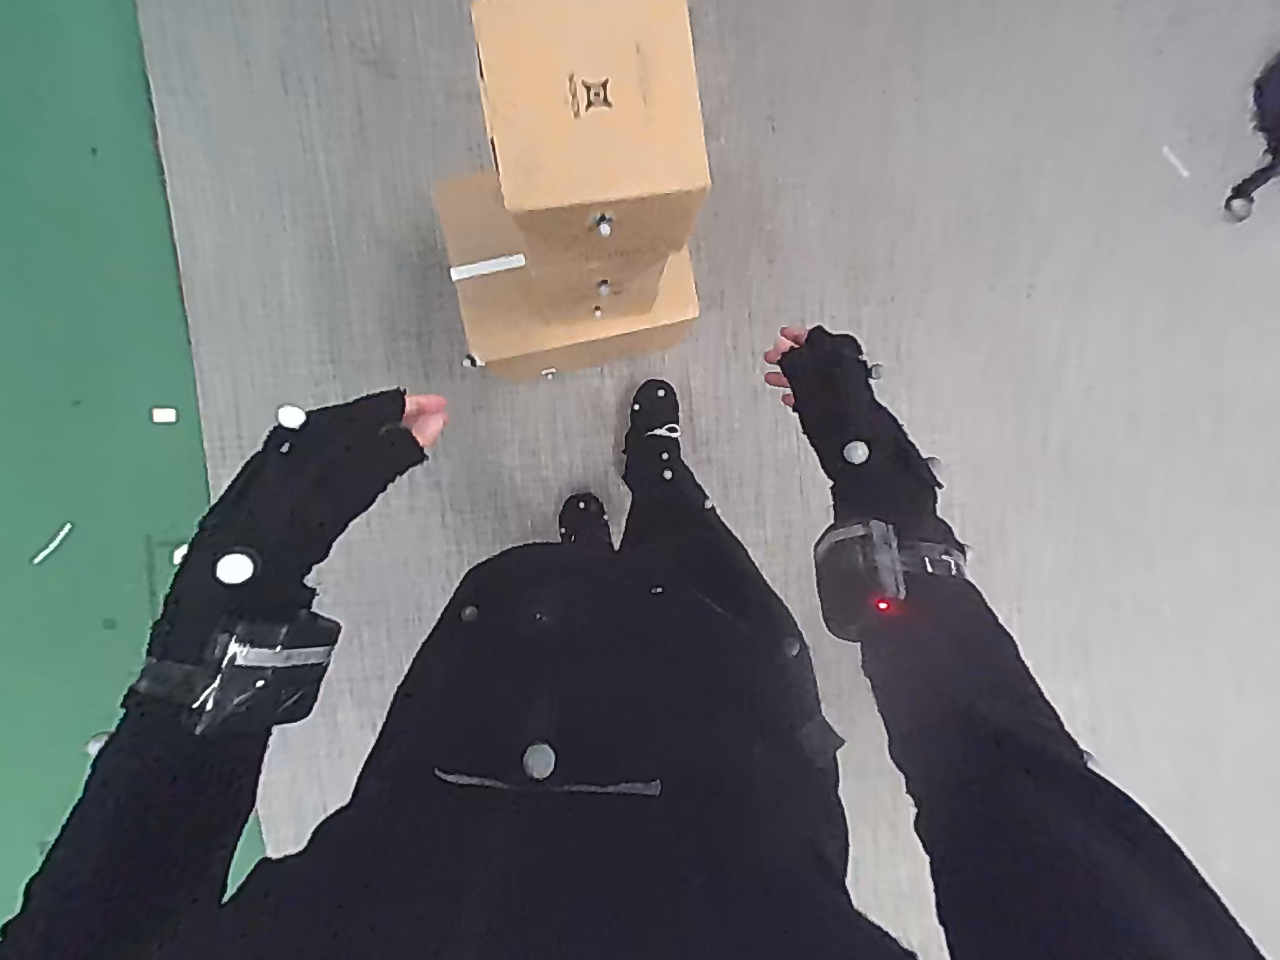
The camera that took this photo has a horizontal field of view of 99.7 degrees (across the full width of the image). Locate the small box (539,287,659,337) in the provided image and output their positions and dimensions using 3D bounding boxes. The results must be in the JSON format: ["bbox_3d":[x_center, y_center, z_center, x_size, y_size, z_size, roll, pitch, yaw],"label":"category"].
[{"bbox_3d":[-0.073,-0.334,0.860,0.179,0.176,0.168,-8,94,-2],"label":"small box"}]

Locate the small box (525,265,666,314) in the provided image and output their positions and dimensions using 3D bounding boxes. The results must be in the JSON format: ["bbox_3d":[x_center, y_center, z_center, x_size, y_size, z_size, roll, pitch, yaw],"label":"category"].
[{"bbox_3d":[-0.065,-0.324,0.698,0.168,0.176,0.179,-11,94,-3],"label":"small box"}]

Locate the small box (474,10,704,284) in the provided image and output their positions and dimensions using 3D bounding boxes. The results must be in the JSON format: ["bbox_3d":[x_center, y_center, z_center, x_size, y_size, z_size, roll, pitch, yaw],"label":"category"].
[{"bbox_3d":[-0.046,-0.308,0.537,0.179,0.176,0.168,-10,95,-4],"label":"small box"}]
